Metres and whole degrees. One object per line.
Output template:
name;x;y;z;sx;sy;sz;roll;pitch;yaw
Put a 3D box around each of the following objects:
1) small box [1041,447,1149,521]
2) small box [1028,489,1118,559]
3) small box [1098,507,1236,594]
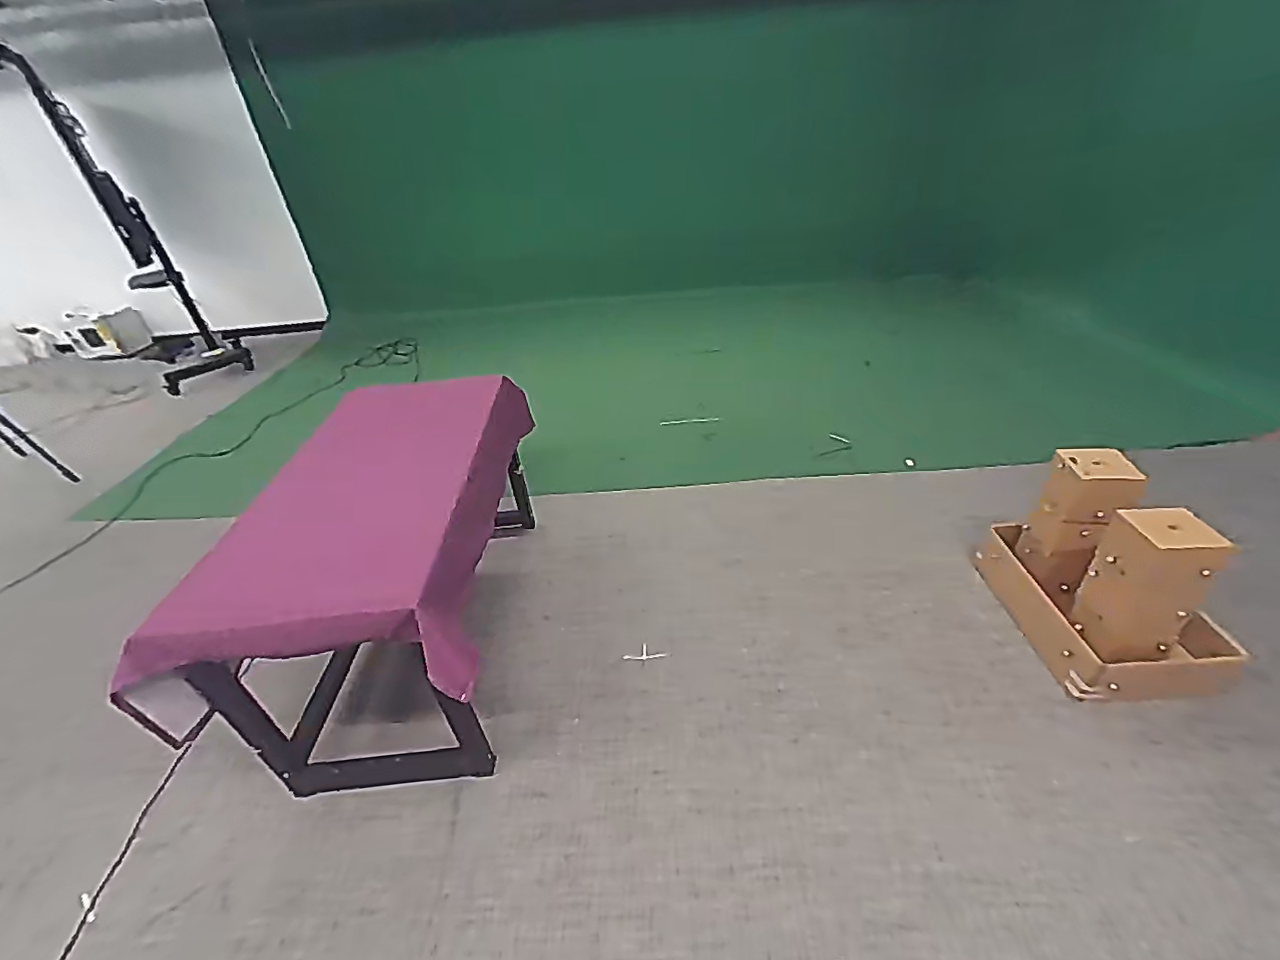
small box;1.404;0.015;1.683;0.179;0.176;0.168;2;35;9
small box;1.421;0.145;1.783;0.179;0.176;0.168;1;36;7
small box;1.389;0.189;1.441;0.179;0.176;0.168;-2;34;5
